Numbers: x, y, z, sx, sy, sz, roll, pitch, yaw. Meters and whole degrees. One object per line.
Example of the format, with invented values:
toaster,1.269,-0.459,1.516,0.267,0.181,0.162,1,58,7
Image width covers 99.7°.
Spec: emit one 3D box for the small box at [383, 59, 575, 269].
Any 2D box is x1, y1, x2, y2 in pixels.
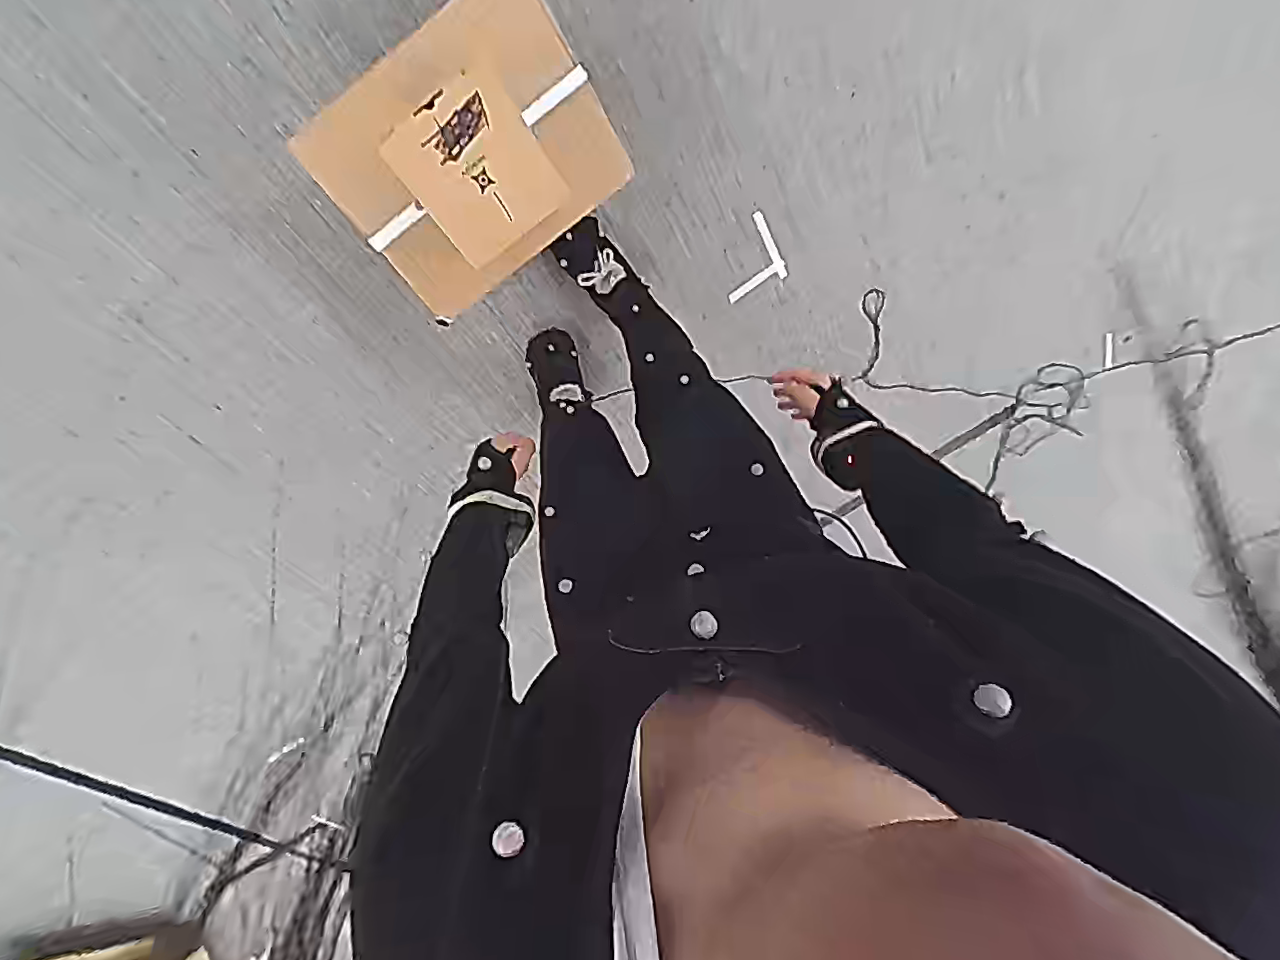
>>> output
small box,-0.216,-0.423,0.741,0.168,0.176,0.179,-35,125,6
